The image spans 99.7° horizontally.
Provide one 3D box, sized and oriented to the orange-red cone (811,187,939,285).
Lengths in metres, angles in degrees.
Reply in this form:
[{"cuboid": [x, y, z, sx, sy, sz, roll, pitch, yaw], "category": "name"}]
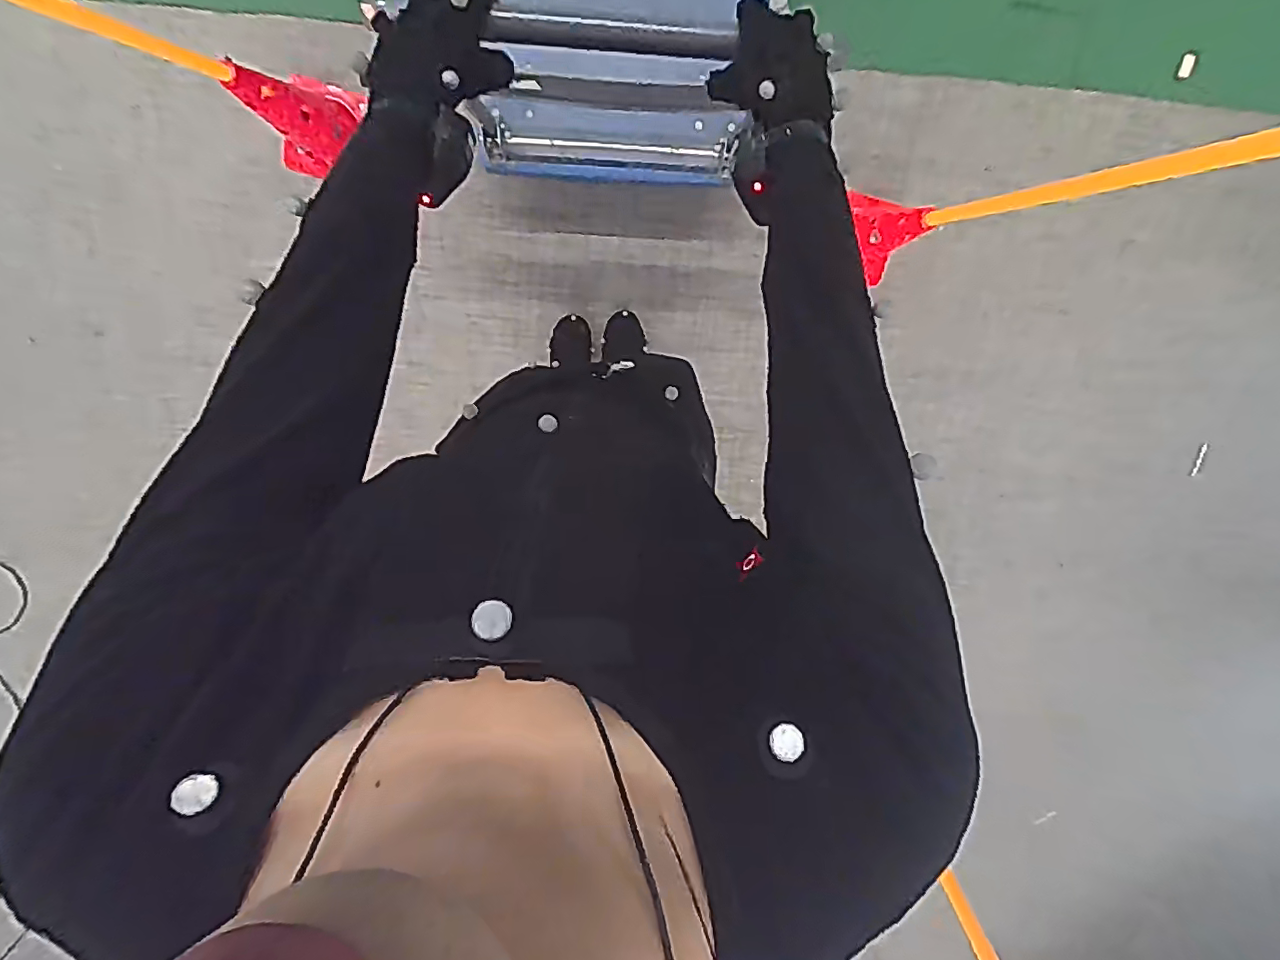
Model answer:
[{"cuboid": [0.554, -0.560, 1.204, 0.198, 0.360, 0.199, 14, 108, -6], "category": "orange-red cone"}]
